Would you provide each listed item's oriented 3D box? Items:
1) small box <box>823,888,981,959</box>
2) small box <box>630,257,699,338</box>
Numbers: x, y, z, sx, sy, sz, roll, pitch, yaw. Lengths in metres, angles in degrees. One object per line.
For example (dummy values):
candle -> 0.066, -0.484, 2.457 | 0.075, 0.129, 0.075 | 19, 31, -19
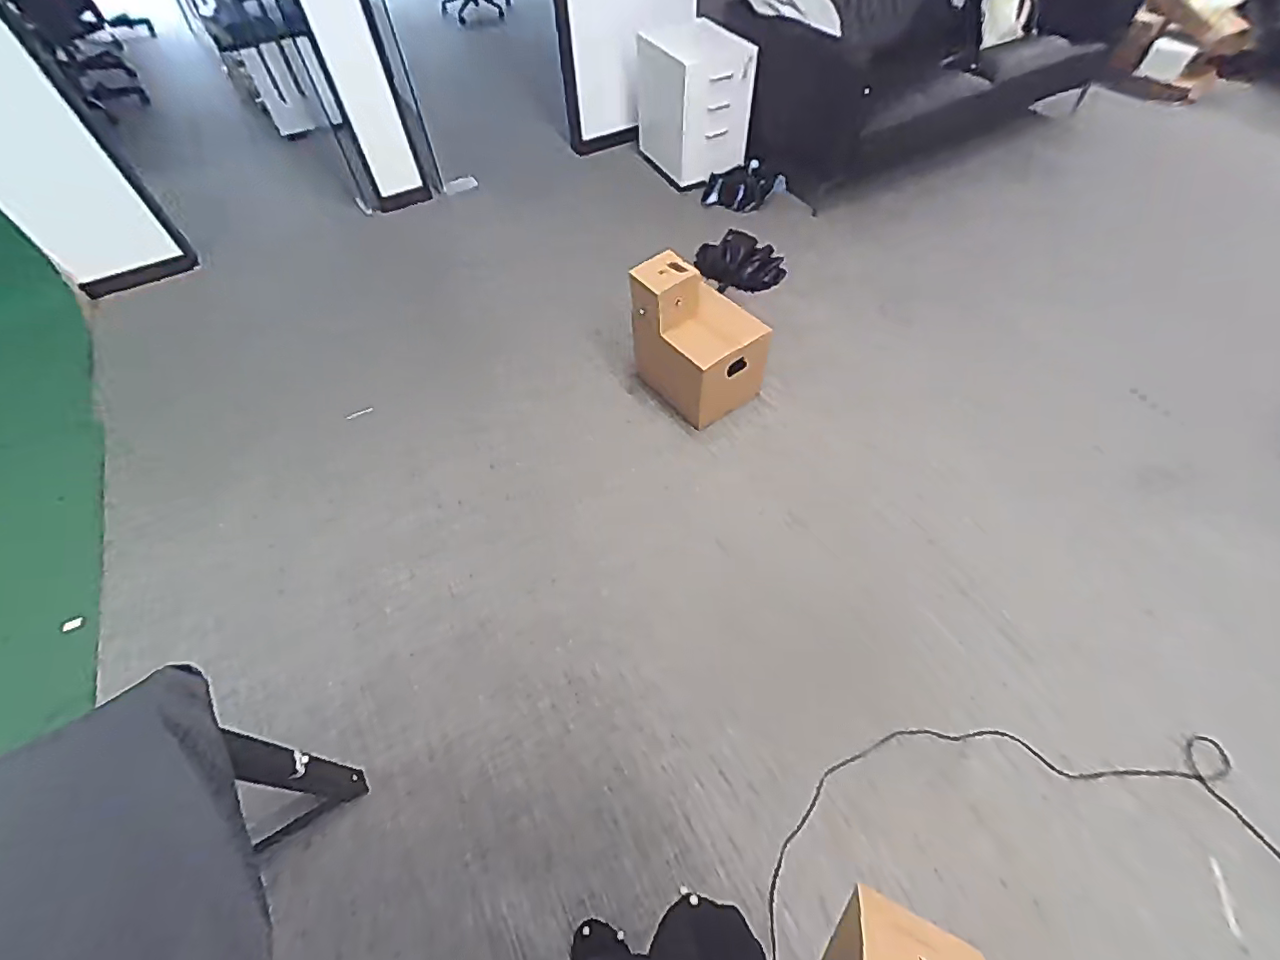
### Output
small box -> 0.310, 0.660, 0.642 | 0.168, 0.179, 0.176 | 23, 98, 17
small box -> 0.084, -0.623, 1.856 | 0.179, 0.176, 0.168 | -33, 59, -15
